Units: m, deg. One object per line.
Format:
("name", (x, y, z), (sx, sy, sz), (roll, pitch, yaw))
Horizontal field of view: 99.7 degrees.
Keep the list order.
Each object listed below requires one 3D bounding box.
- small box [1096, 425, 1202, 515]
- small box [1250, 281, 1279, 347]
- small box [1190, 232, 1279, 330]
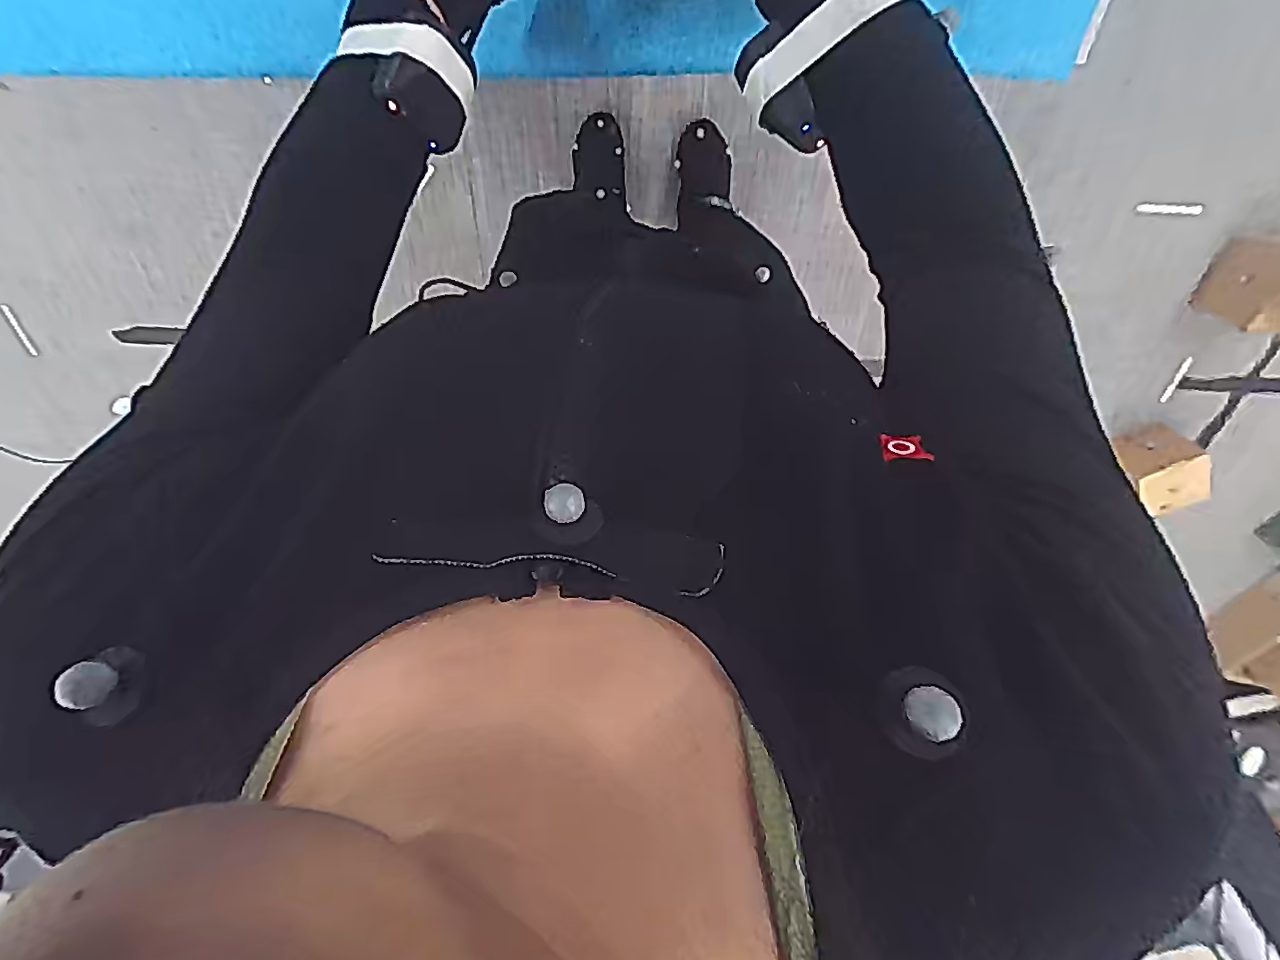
("small box", (1.463, -0.037, 1.565), (0.168, 0.176, 0.179), (-23, 123, 19))
("small box", (1.464, -0.360, 1.118), (0.168, 0.176, 0.179), (33, 120, -21))
("small box", (1.454, -0.460, 1.253), (0.168, 0.176, 0.179), (3, 125, -2))
